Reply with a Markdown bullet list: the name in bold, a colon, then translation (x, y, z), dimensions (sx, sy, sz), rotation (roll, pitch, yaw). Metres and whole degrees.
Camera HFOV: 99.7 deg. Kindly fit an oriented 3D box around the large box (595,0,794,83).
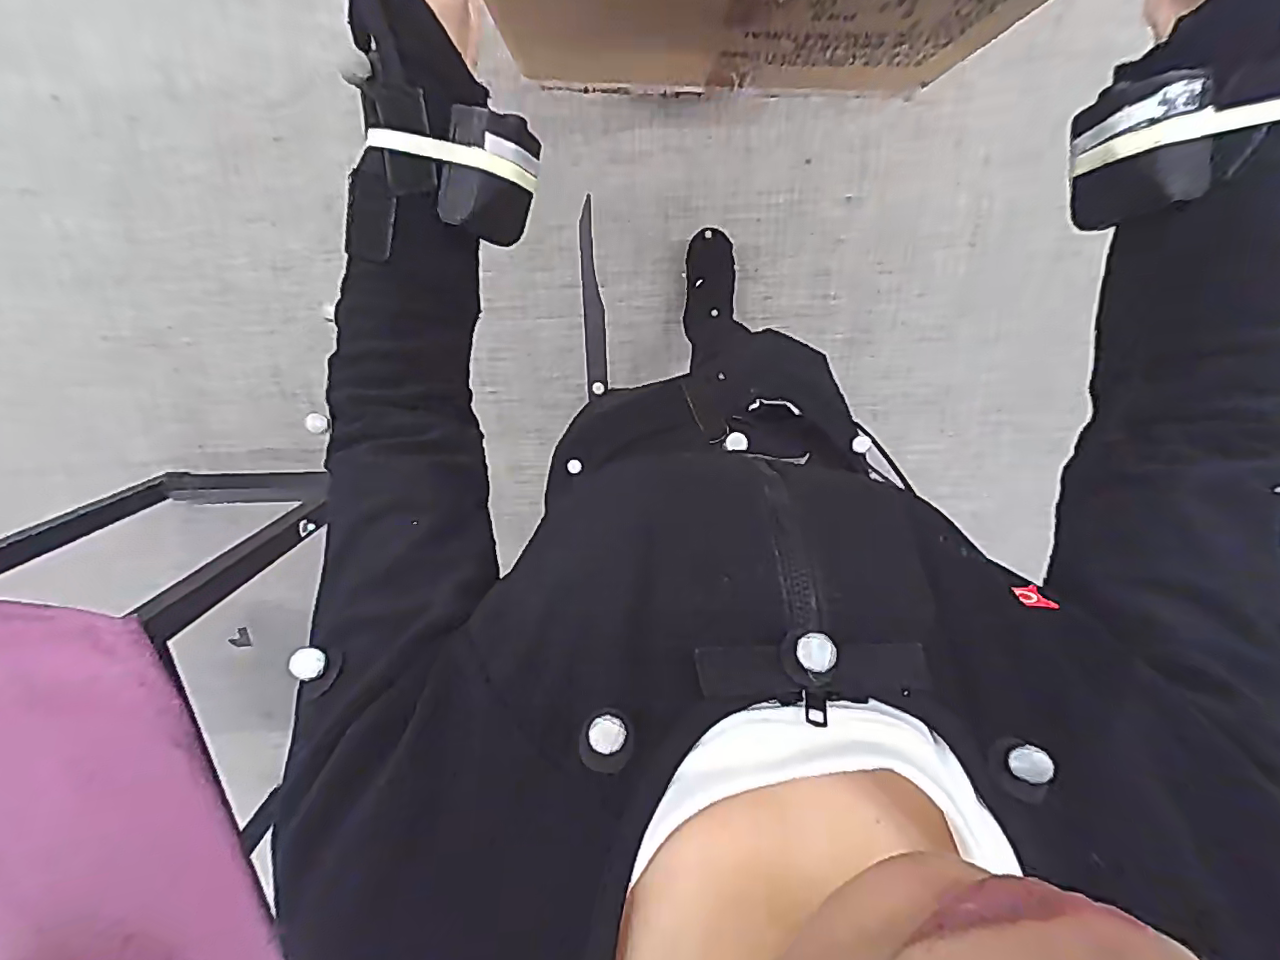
- **large box**: translation (0.073, -0.961, 0.907), dimensions (0.320, 0.320, 0.408), rotation (-2, 111, 3)
